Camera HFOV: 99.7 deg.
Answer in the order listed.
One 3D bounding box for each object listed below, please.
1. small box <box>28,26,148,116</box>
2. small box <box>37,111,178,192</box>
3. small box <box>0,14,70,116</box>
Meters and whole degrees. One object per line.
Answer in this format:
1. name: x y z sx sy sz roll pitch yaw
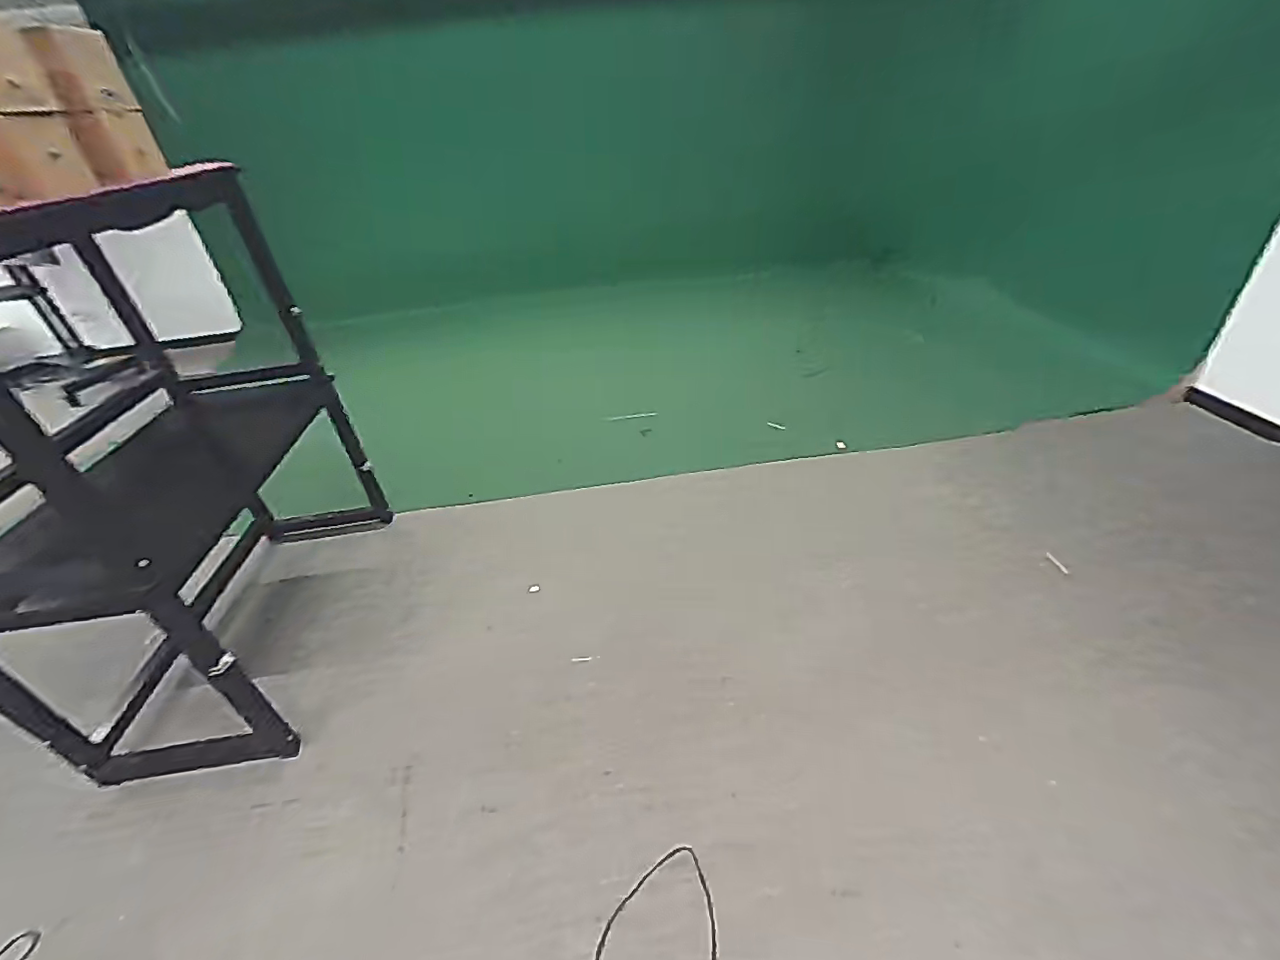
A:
1. small box: -1.425 -1.024 1.367 0.179 0.176 0.168 -5 37 -1
2. small box: -1.413 -0.886 1.453 0.179 0.176 0.168 -7 35 -3
3. small box: -1.384 -0.860 1.127 0.179 0.176 0.168 -5 36 -1
